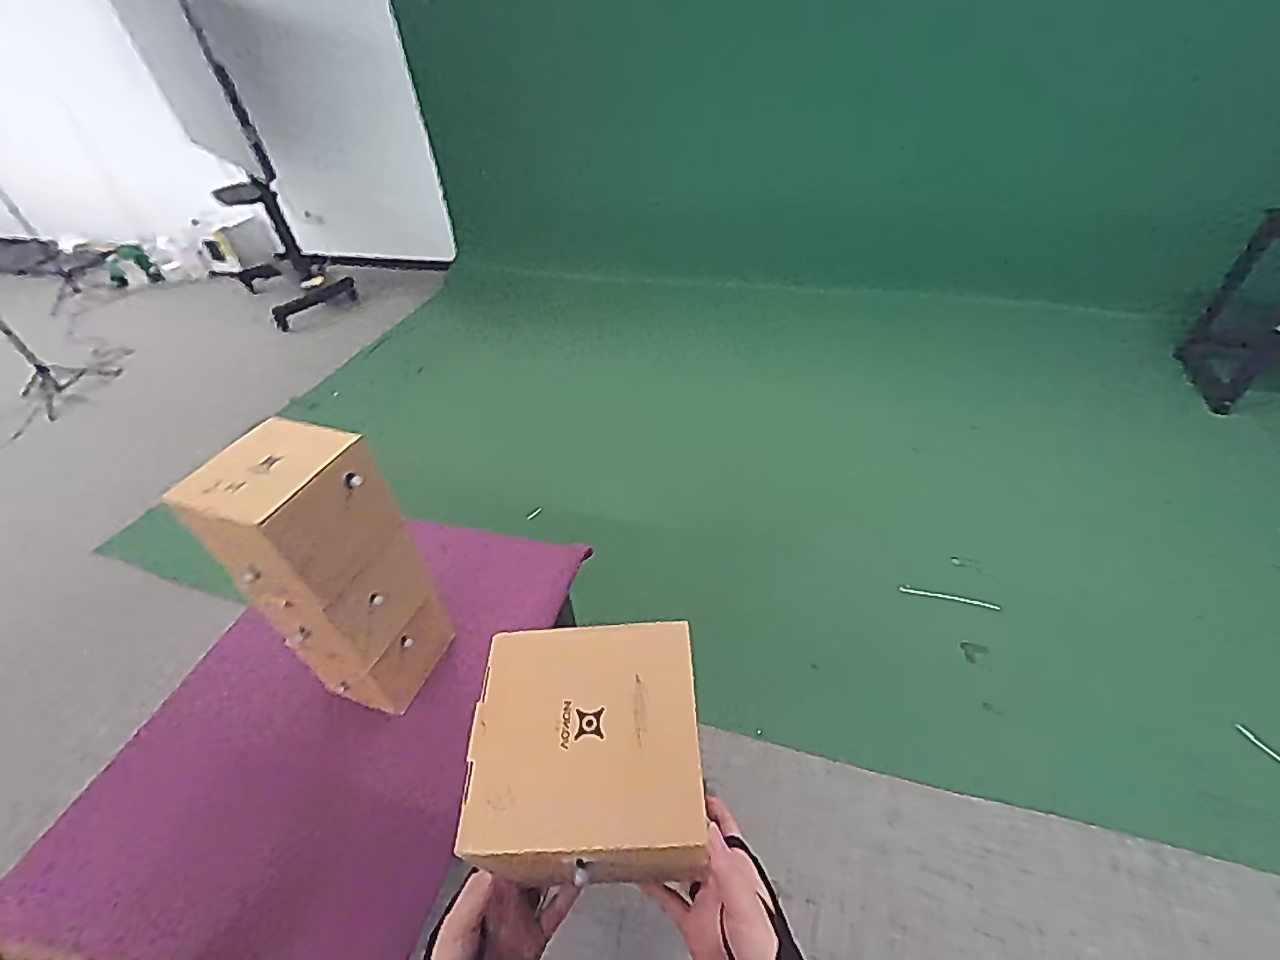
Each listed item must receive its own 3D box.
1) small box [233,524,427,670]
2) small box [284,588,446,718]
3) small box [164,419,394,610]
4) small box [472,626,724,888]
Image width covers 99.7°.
[{"bbox_3d":[-0.468,0.169,0.851,0.168,0.176,0.179,13,46,16],"label":"small box"},{"bbox_3d":[-0.472,0.287,0.965,0.168,0.176,0.179,12,46,16],"label":"small box"},{"bbox_3d":[-0.470,0.045,0.741,0.168,0.176,0.179,12,45,17],"label":"small box"},{"bbox_3d":[-0.021,0.246,0.474,0.179,0.176,0.168,-3,47,3],"label":"small box"}]
